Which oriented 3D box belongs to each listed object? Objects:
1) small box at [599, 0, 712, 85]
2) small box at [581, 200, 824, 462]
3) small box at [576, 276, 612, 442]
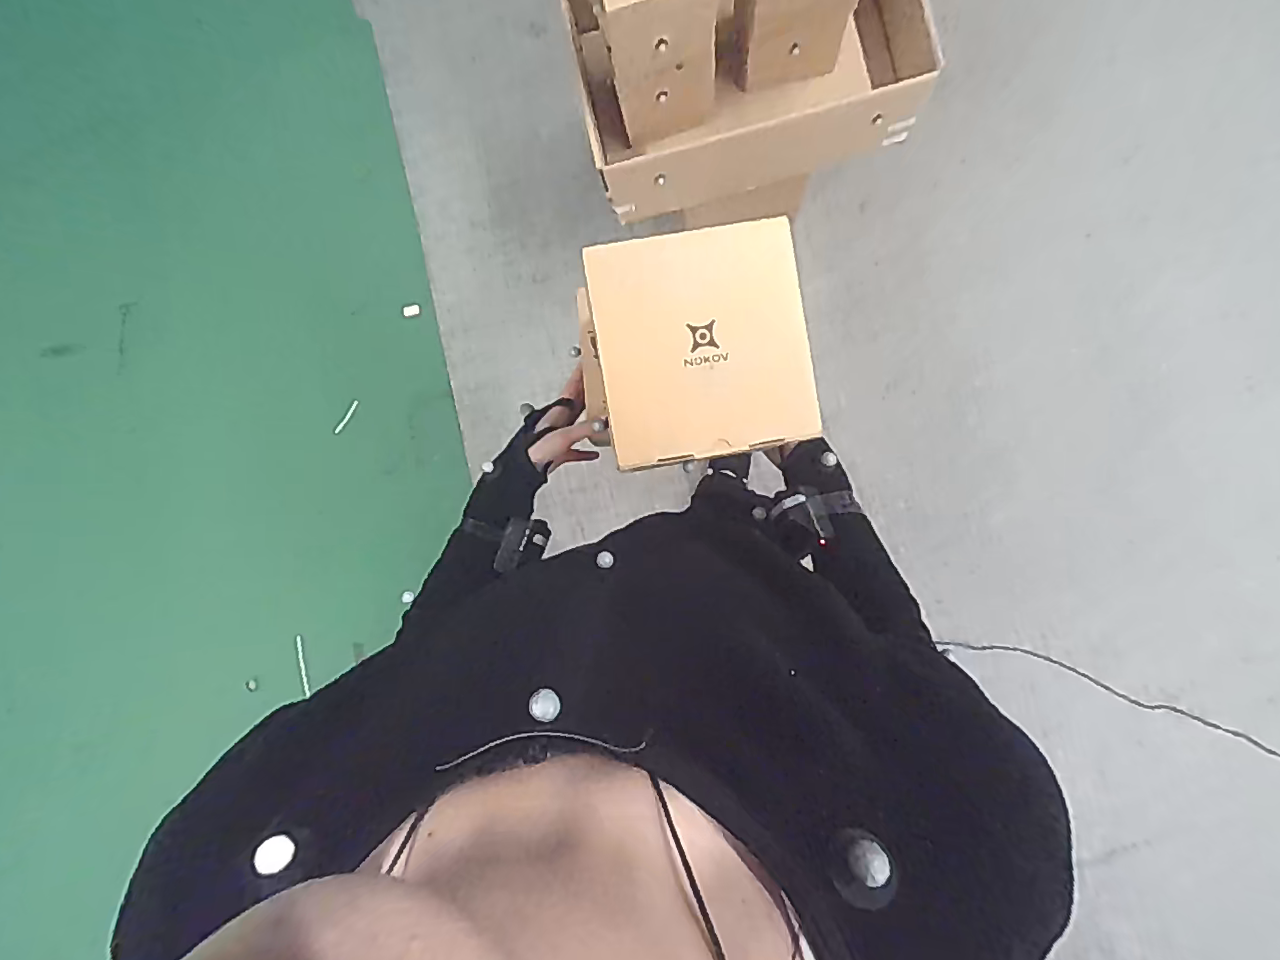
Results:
[{"bbox_3d":[0.018,-0.773,0.856,0.168,0.176,0.179,-13,87,6],"label":"small box"},{"bbox_3d":[0.044,-0.116,0.488,0.168,0.176,0.179,-10,91,-2],"label":"small box"},{"bbox_3d":[0.020,-0.138,0.650,0.179,0.176,0.168,-5,89,-2],"label":"small box"}]
